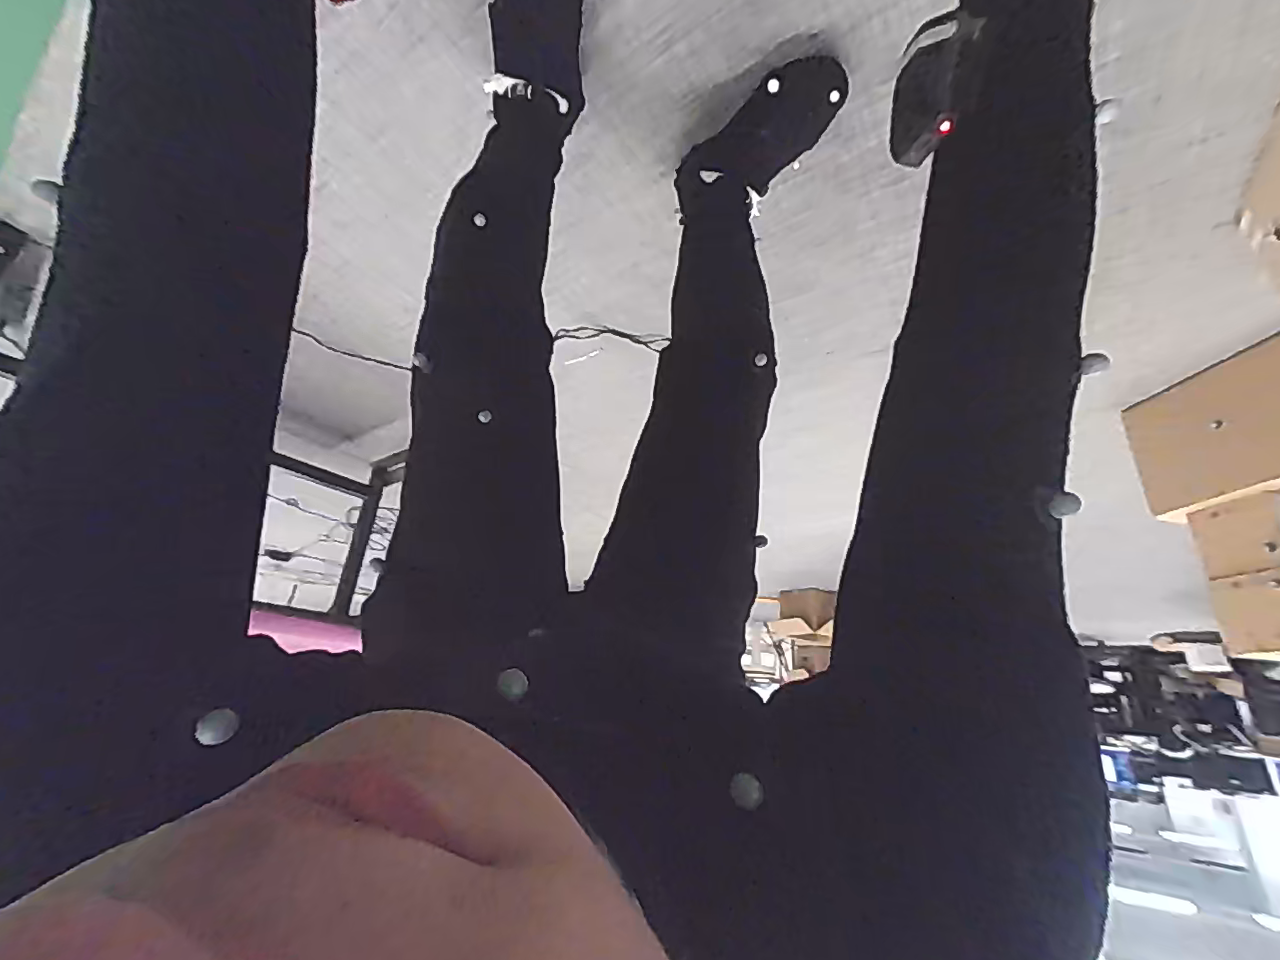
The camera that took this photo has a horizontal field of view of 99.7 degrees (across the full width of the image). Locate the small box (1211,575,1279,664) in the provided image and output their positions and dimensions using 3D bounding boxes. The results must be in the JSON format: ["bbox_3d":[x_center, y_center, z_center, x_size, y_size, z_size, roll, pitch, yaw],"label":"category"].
[{"bbox_3d":[1.404,0.295,1.159,0.179,0.176,0.168,7,157,-8],"label":"small box"}]

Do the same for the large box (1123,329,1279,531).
[{"bbox_3d":[1.481,-0.103,1.259,0.320,0.320,0.408,6,156,-7],"label":"large box"}]
